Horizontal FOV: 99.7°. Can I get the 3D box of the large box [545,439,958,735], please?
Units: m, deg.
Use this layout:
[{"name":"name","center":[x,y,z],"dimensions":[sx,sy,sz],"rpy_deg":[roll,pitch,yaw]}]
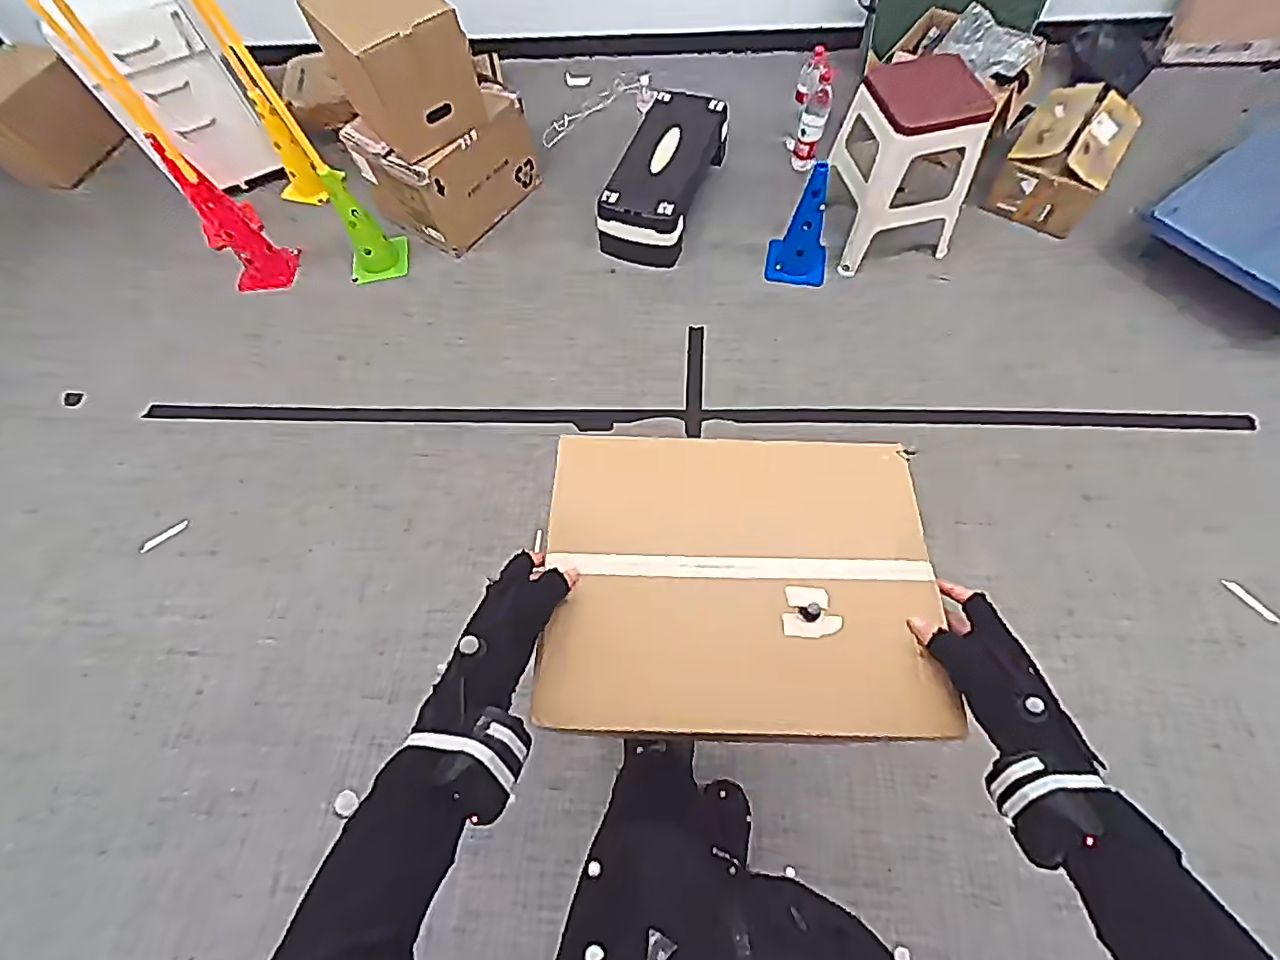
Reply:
[{"name":"large box","center":[0.102,0.158,0.709],"dimensions":[0.408,0.320,0.320],"rpy_deg":[2,64,-1]}]
